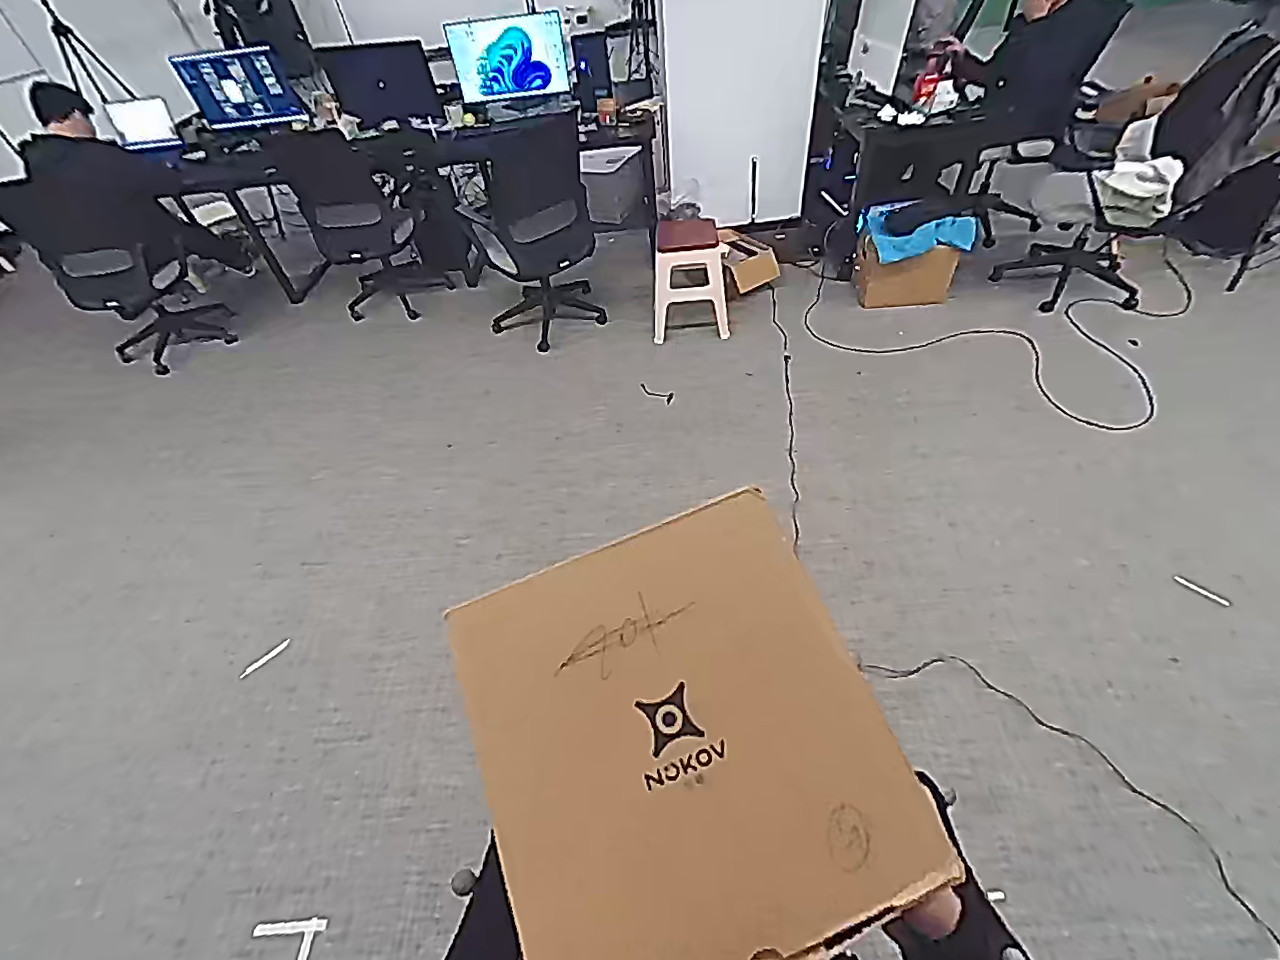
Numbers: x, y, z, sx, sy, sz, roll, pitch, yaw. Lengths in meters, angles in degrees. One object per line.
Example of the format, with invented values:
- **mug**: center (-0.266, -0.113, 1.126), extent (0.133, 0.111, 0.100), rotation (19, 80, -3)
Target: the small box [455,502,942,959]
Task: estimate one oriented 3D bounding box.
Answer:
- **small box**: center (0.022, 0.143, 0.311), extent (0.168, 0.176, 0.179), rotation (-22, 66, -5)
